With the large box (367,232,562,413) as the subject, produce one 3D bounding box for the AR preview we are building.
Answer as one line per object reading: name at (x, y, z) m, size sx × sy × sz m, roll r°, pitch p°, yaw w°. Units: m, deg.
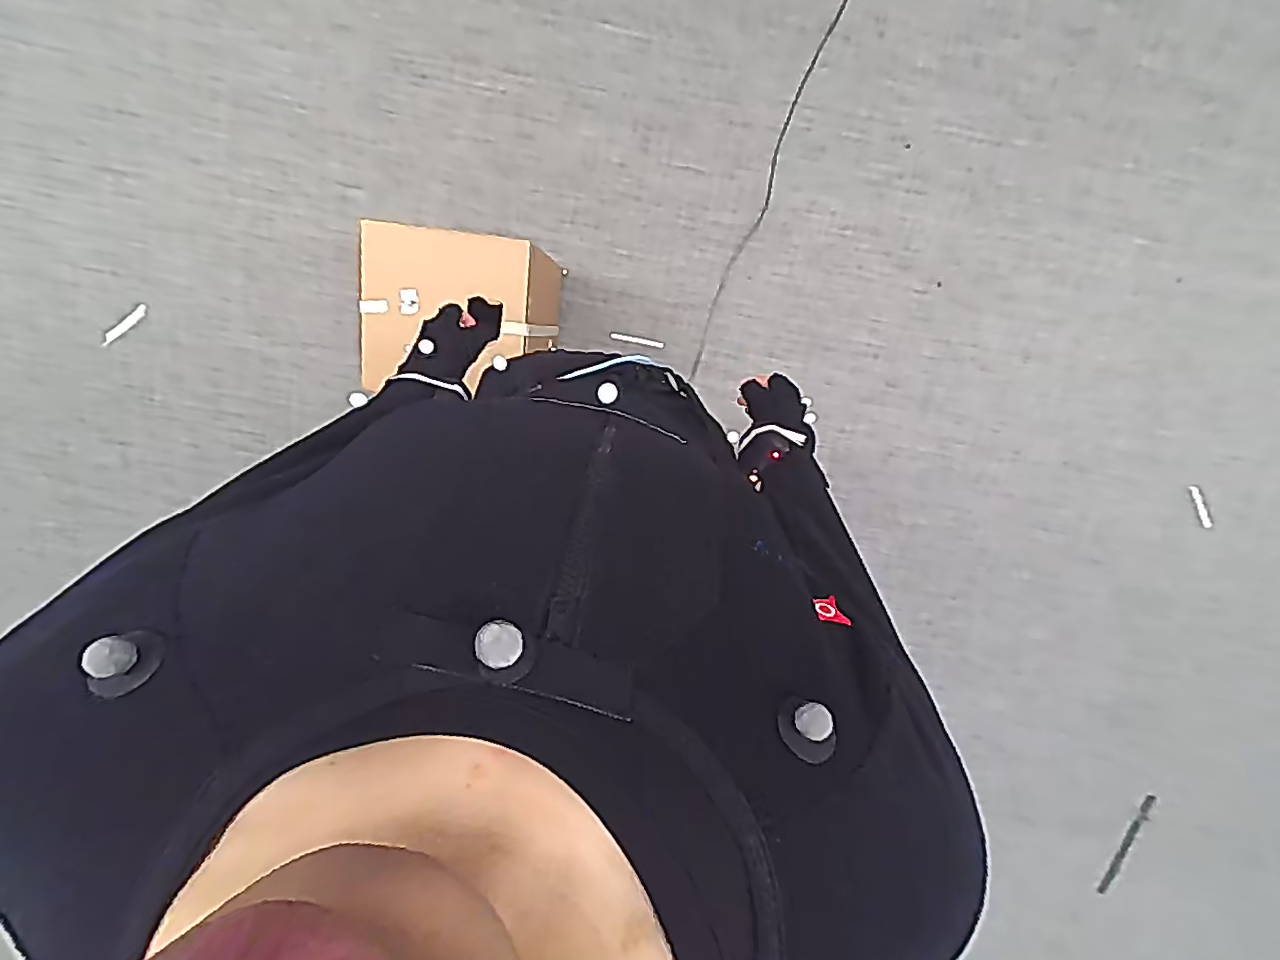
large box at (-0.366, -0.350, 1.215) m, size 0.320 × 0.408 × 0.320 m, roll 7°, pitch 105°, yaw -2°
